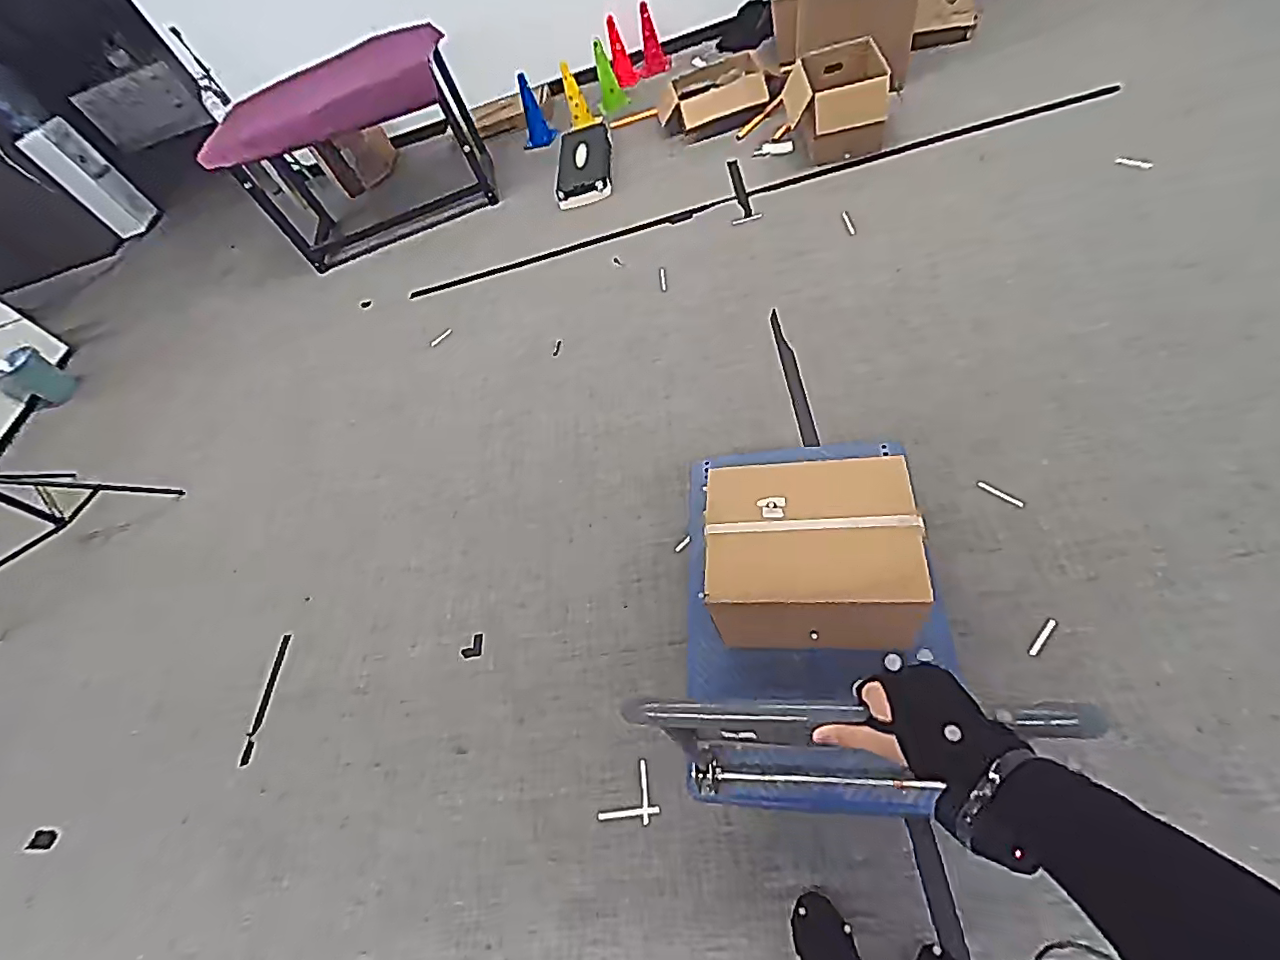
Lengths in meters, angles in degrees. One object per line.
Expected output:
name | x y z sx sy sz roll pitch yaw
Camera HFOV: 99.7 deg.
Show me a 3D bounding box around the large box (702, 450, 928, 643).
large box | 0.364 0.164 1.184 0.408 0.320 0.320 -5 56 16
